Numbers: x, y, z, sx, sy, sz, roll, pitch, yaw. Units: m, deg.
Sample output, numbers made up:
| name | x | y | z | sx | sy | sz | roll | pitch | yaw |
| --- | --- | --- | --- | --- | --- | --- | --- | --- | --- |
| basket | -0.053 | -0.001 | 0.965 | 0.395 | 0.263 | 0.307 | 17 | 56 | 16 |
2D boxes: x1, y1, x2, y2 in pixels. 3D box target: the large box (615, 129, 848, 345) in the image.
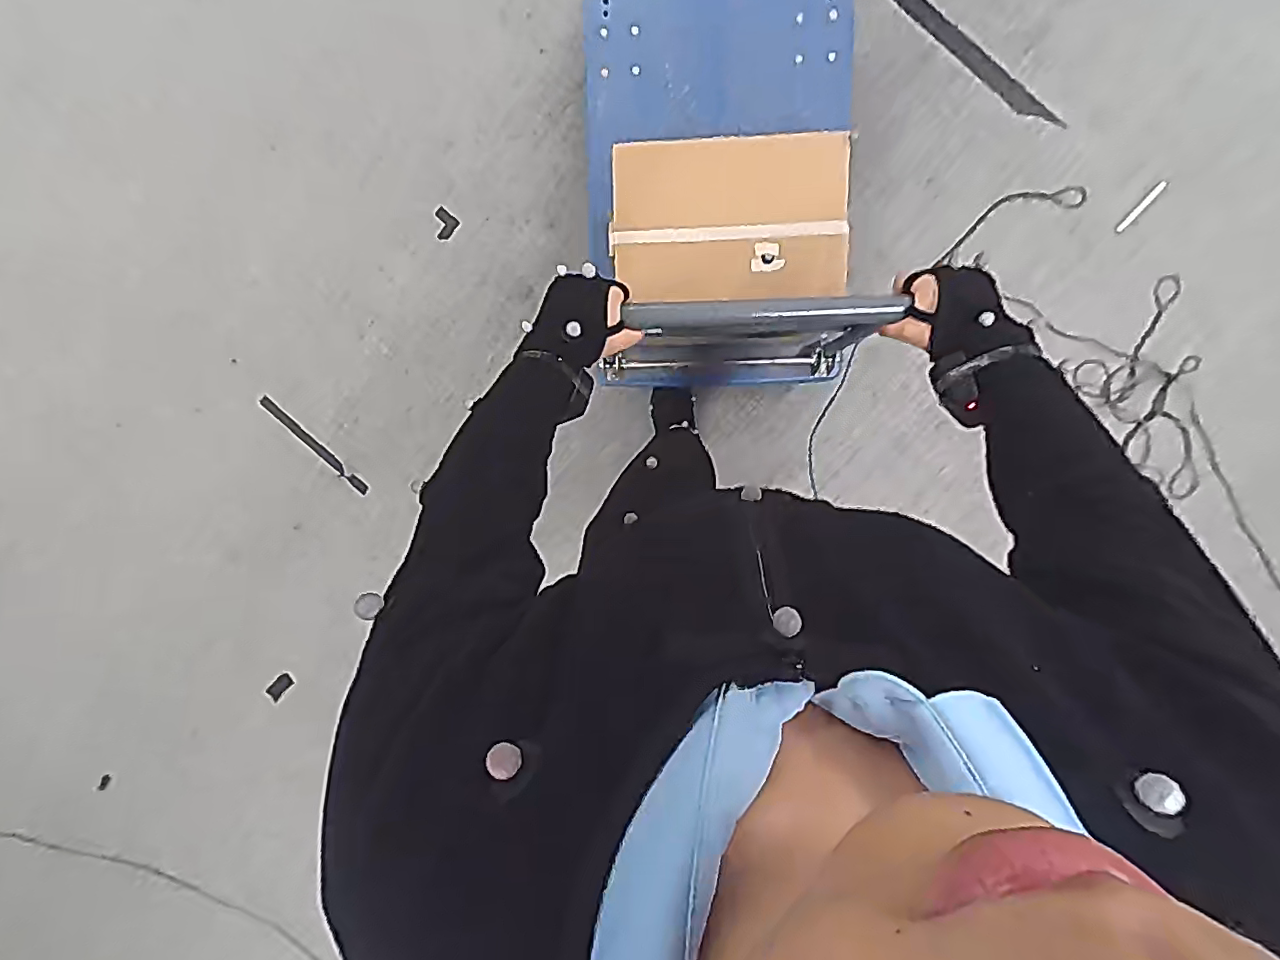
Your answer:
| name | x | y | z | sx | sy | sz | roll | pitch | yaw |
| --- | --- | --- | --- | --- | --- | --- | --- | --- | --- |
| large box | 0.167 | -0.455 | 1.093 | 0.408 | 0.320 | 0.320 | -1 | 99 | 4 |
